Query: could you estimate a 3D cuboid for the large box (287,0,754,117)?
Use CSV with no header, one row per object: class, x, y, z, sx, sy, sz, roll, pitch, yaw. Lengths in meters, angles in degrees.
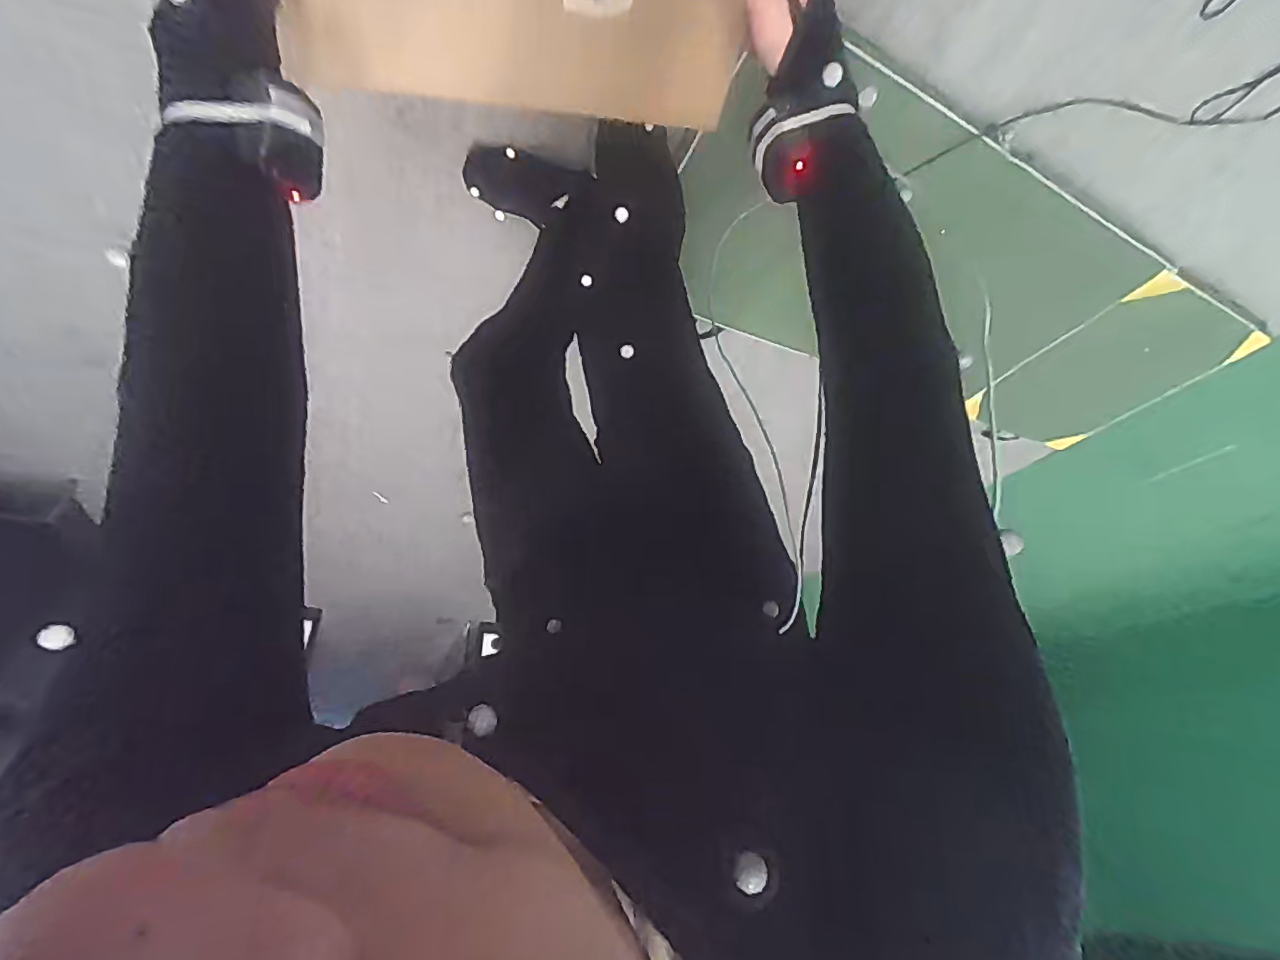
large box,-0.099,-0.581,0.464,0.408,0.320,0.320,-1,154,-13
